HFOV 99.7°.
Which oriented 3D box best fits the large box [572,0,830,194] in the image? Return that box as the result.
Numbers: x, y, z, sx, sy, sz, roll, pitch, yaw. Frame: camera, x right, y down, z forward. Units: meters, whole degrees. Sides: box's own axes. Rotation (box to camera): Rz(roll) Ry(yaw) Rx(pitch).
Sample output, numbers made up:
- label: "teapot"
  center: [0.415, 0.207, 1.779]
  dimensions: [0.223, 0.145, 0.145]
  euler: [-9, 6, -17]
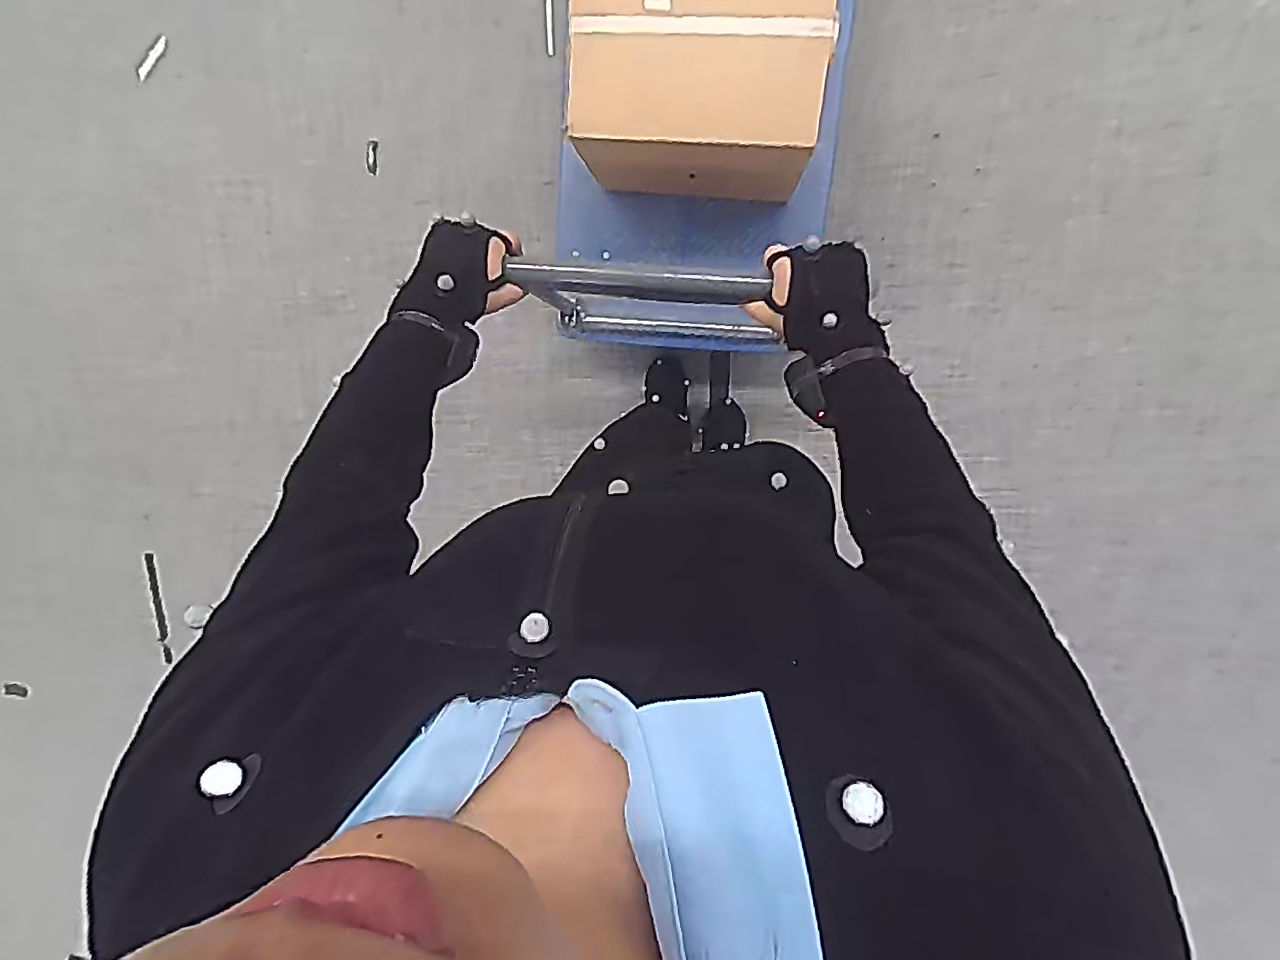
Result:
- label: "large box"
  center: [0.113, -0.736, 0.997]
  dimensions: [0.408, 0.320, 0.320]
  euler: [6, 103, 7]
